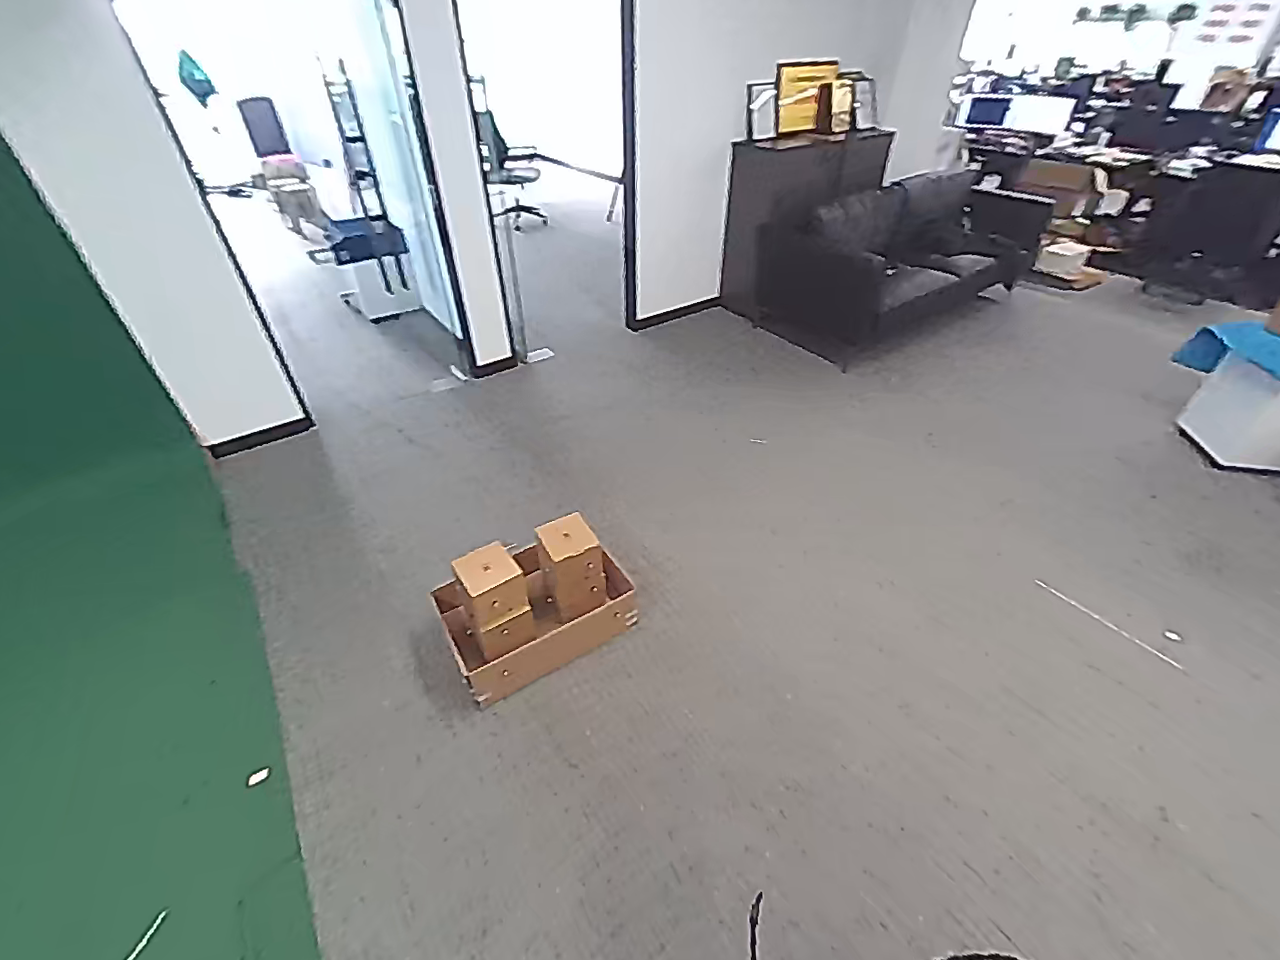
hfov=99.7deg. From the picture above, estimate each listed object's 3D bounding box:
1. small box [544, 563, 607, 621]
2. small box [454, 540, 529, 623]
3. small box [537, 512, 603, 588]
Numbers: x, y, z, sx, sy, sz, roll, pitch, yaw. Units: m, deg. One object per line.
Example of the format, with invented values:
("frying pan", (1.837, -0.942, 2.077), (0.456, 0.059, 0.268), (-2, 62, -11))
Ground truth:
("small box", (-0.228, 0.369, 1.939), (0.179, 0.176, 0.168), (-21, 44, -22))
("small box", (-0.471, 0.332, 1.732), (0.168, 0.176, 0.179), (-25, 45, -28))
("small box", (-0.233, 0.244, 1.835), (0.168, 0.176, 0.179), (-20, 43, -23))
